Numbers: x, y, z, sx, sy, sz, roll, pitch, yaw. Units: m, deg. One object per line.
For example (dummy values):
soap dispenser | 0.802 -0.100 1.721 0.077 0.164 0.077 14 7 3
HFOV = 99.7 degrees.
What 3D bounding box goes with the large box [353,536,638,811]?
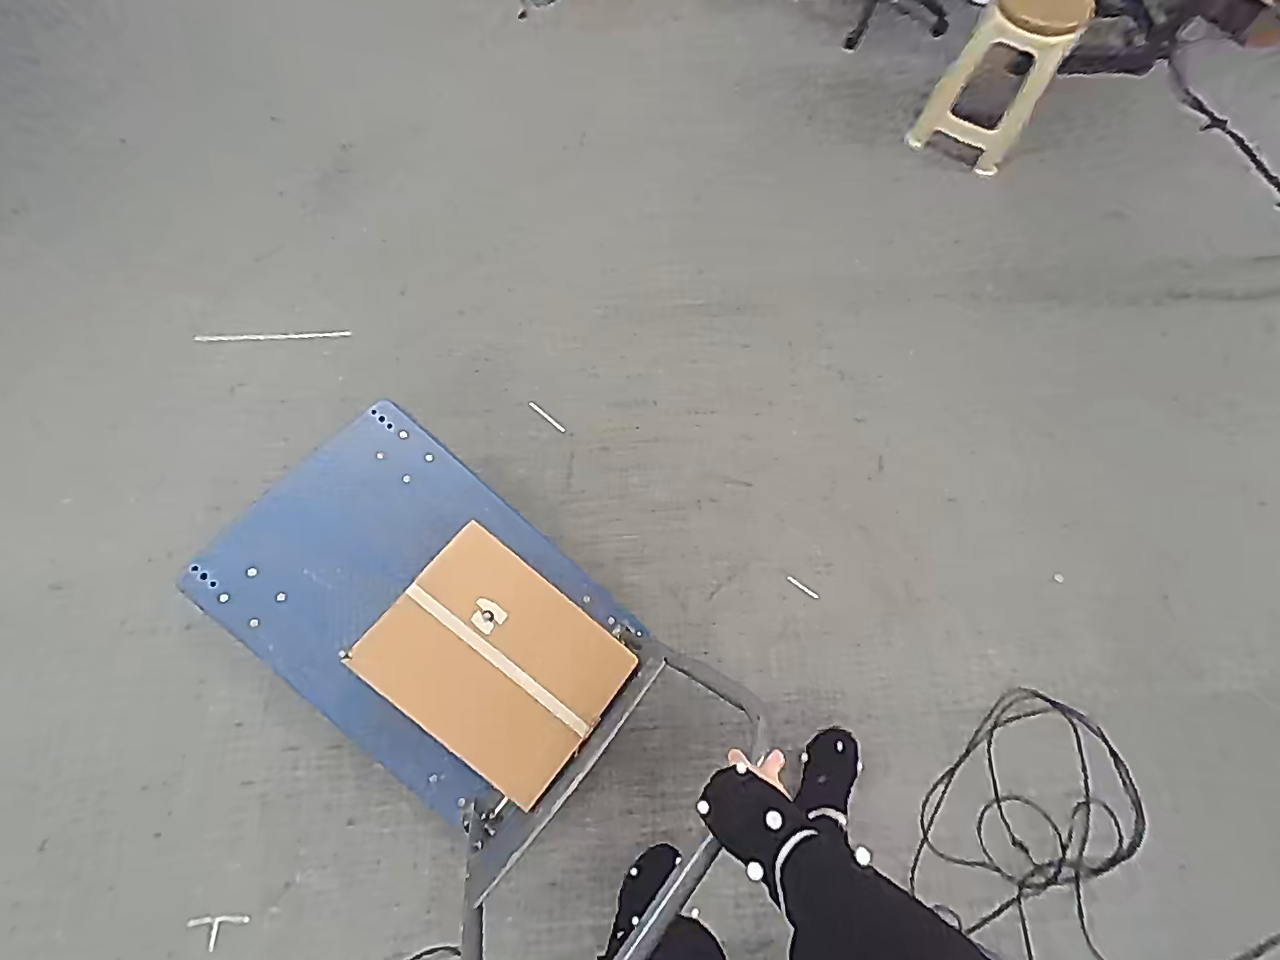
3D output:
large box | -0.273 0.367 1.106 0.408 0.320 0.320 39 73 -2
